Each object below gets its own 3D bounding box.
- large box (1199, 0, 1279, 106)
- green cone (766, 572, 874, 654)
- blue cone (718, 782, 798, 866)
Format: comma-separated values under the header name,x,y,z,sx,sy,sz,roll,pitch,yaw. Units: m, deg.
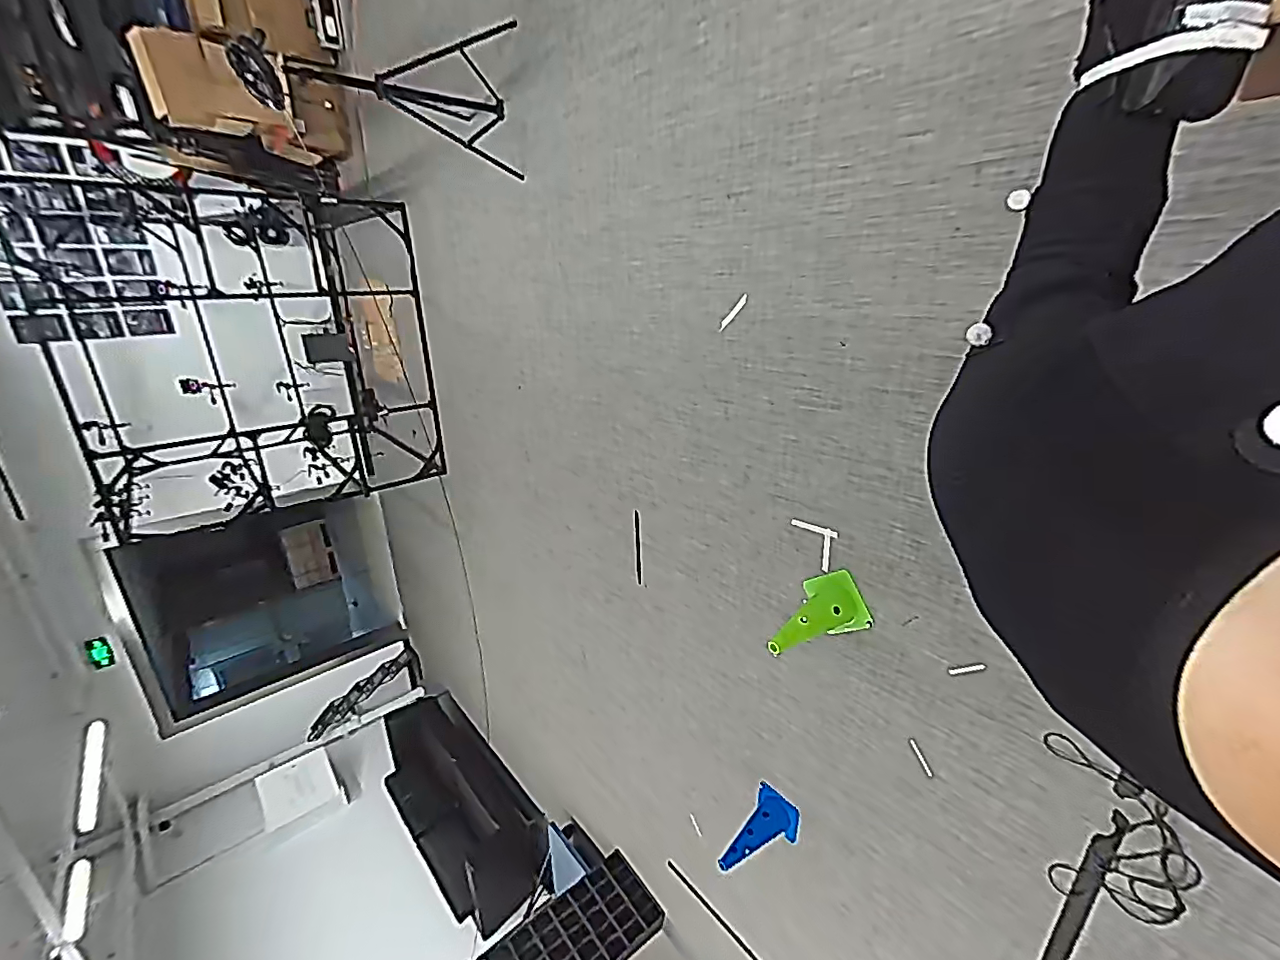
name,x,y,z,sx,sy,sz,roll,pitch,yaw
large box,0.593,-0.426,0.251,0.408,0.320,0.320,19,121,45
green cone,0.534,0.454,1.716,0.202,0.368,0.200,-37,74,53
blue cone,0.469,1.461,2.229,0.192,0.380,0.193,26,123,45
